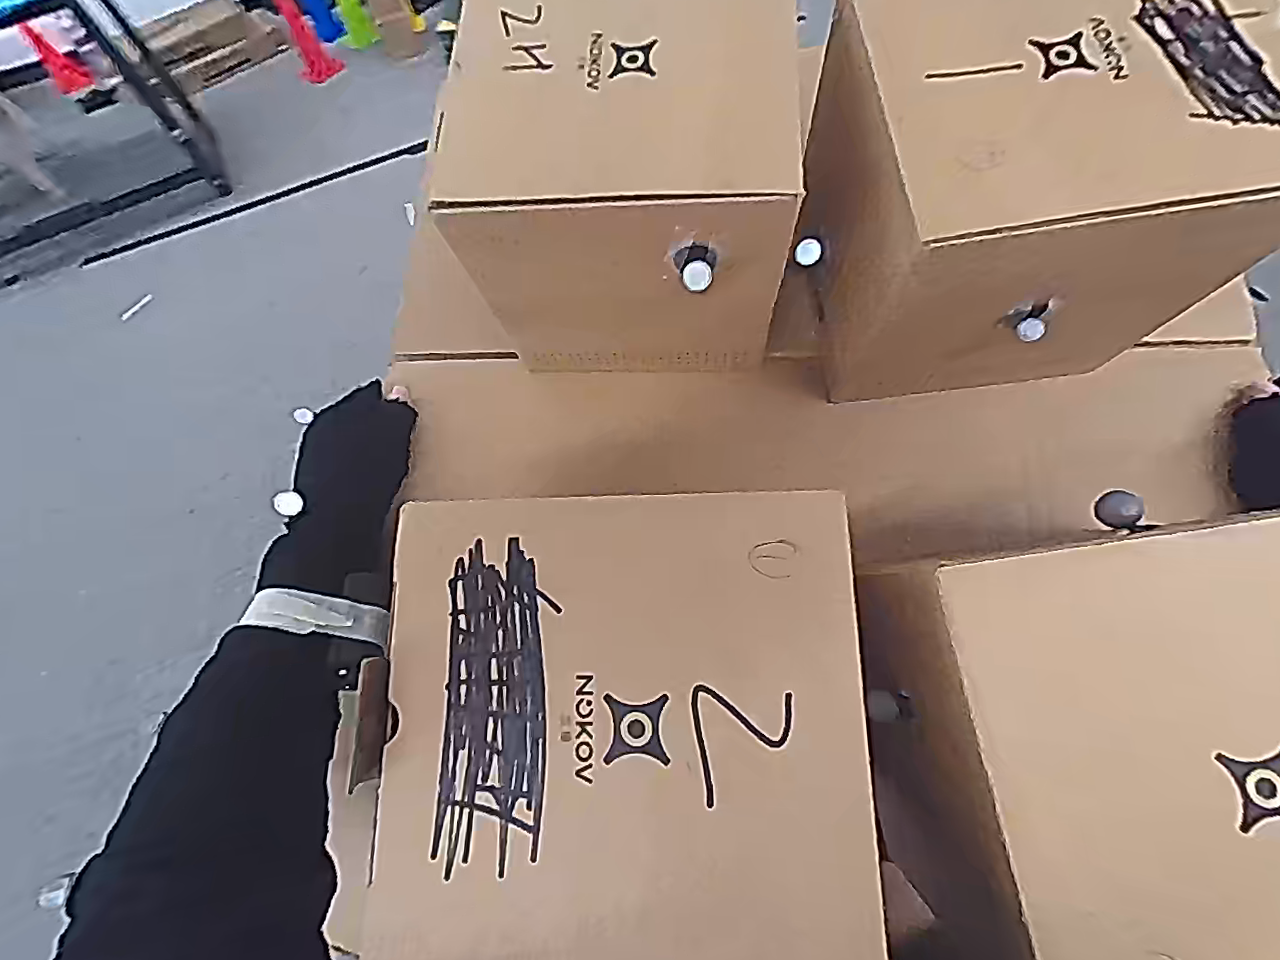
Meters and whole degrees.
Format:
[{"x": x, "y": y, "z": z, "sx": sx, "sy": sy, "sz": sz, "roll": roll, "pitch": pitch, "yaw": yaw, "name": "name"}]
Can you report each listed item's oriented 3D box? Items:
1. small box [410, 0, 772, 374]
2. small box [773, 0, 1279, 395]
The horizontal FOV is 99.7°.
[{"x": -0.015, "y": -0.180, "z": 0.352, "sx": 0.179, "sy": 0.176, "sz": 0.168, "roll": 1, "pitch": 74, "yaw": 7, "name": "small box"}, {"x": 0.188, "y": -0.166, "z": 0.324, "sx": 0.179, "sy": 0.176, "sz": 0.168, "roll": -8, "pitch": 74, "yaw": 6, "name": "small box"}]
